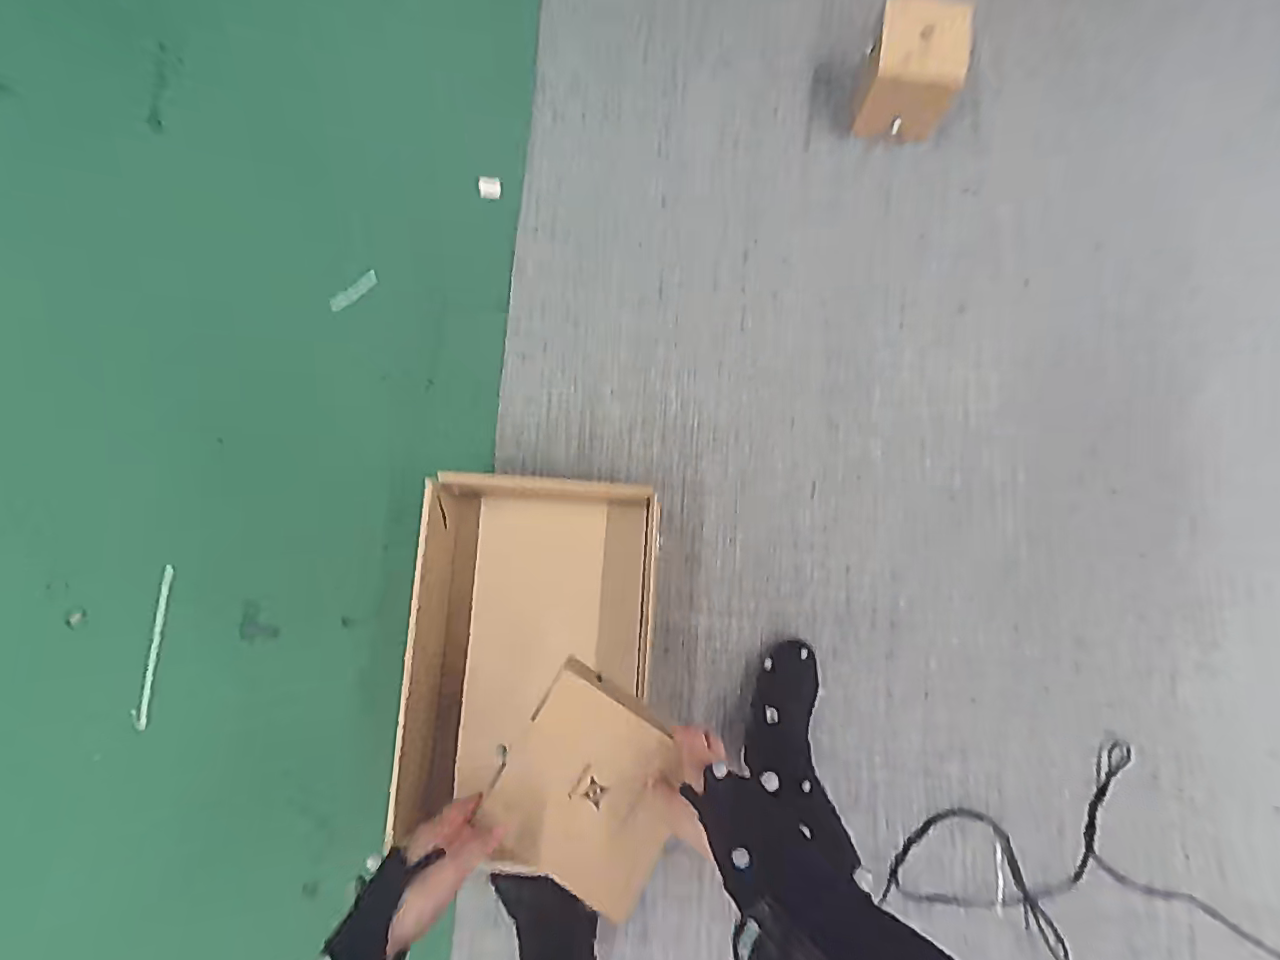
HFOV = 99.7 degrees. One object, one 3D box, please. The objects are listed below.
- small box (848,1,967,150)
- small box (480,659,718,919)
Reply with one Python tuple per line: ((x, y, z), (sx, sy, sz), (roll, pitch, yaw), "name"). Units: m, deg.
((0.546, -0.832, 1.124), (0.168, 0.176, 0.179), (8, 82, 3), "small box")
((-0.044, 0.313, 0.596), (0.179, 0.176, 0.168), (32, 76, 2), "small box")
